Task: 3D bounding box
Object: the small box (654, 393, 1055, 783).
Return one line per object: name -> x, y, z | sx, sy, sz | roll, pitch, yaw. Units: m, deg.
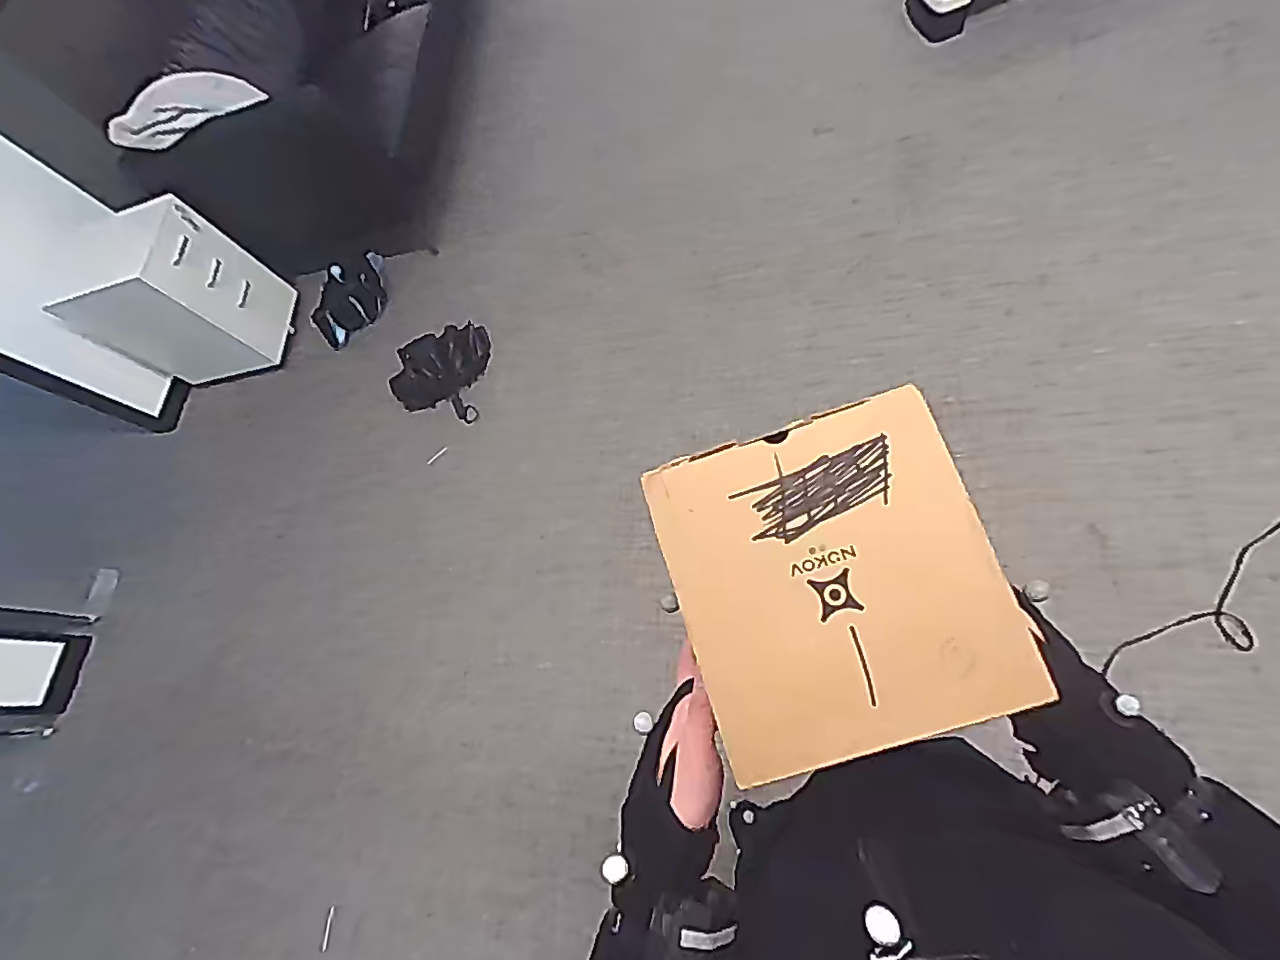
small box -> 0.116, 0.069, 0.371 | 0.168, 0.176, 0.179 | -18, 77, 4
